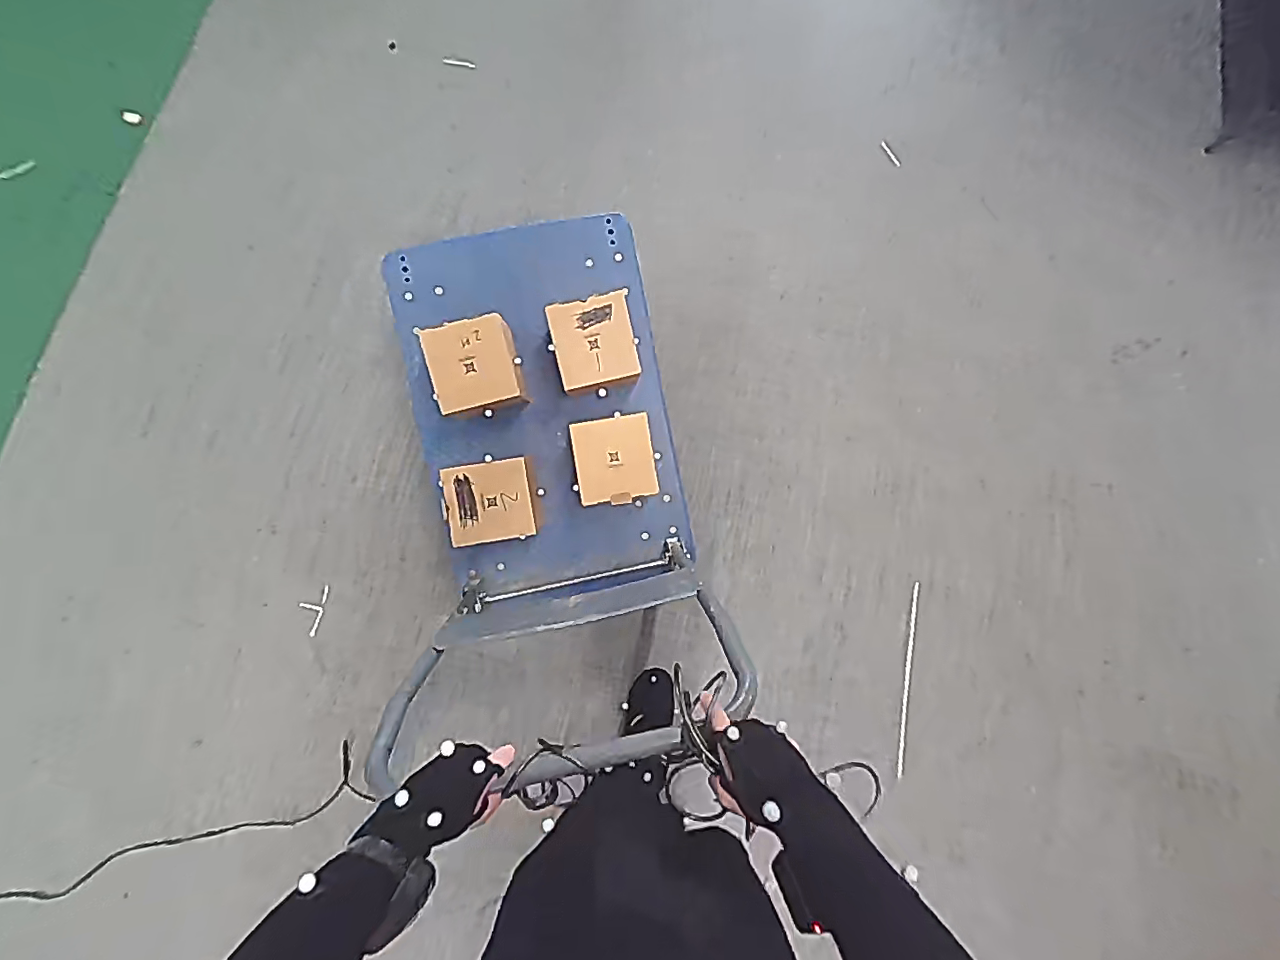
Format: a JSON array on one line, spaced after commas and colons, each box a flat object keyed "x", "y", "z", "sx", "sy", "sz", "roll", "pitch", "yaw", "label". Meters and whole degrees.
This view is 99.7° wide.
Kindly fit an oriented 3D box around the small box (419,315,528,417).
[{"x": -0.351, "y": -0.237, "z": 1.173, "sx": 0.168, "sy": 0.176, "sz": 0.179, "roll": -14, "pitch": 94, "yaw": -3, "label": "small box"}]

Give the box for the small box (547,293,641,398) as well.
[{"x": -0.100, "y": -0.287, "z": 1.183, "sx": 0.168, "sy": 0.176, "sz": 0.179, "roll": -13, "pitch": 95, "yaw": -2, "label": "small box"}]

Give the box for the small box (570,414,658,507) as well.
[{"x": -0.059, "y": -0.044, "z": 1.202, "sx": 0.168, "sy": 0.176, "sz": 0.179, "roll": -9, "pitch": 94, "yaw": -2, "label": "small box"}]
